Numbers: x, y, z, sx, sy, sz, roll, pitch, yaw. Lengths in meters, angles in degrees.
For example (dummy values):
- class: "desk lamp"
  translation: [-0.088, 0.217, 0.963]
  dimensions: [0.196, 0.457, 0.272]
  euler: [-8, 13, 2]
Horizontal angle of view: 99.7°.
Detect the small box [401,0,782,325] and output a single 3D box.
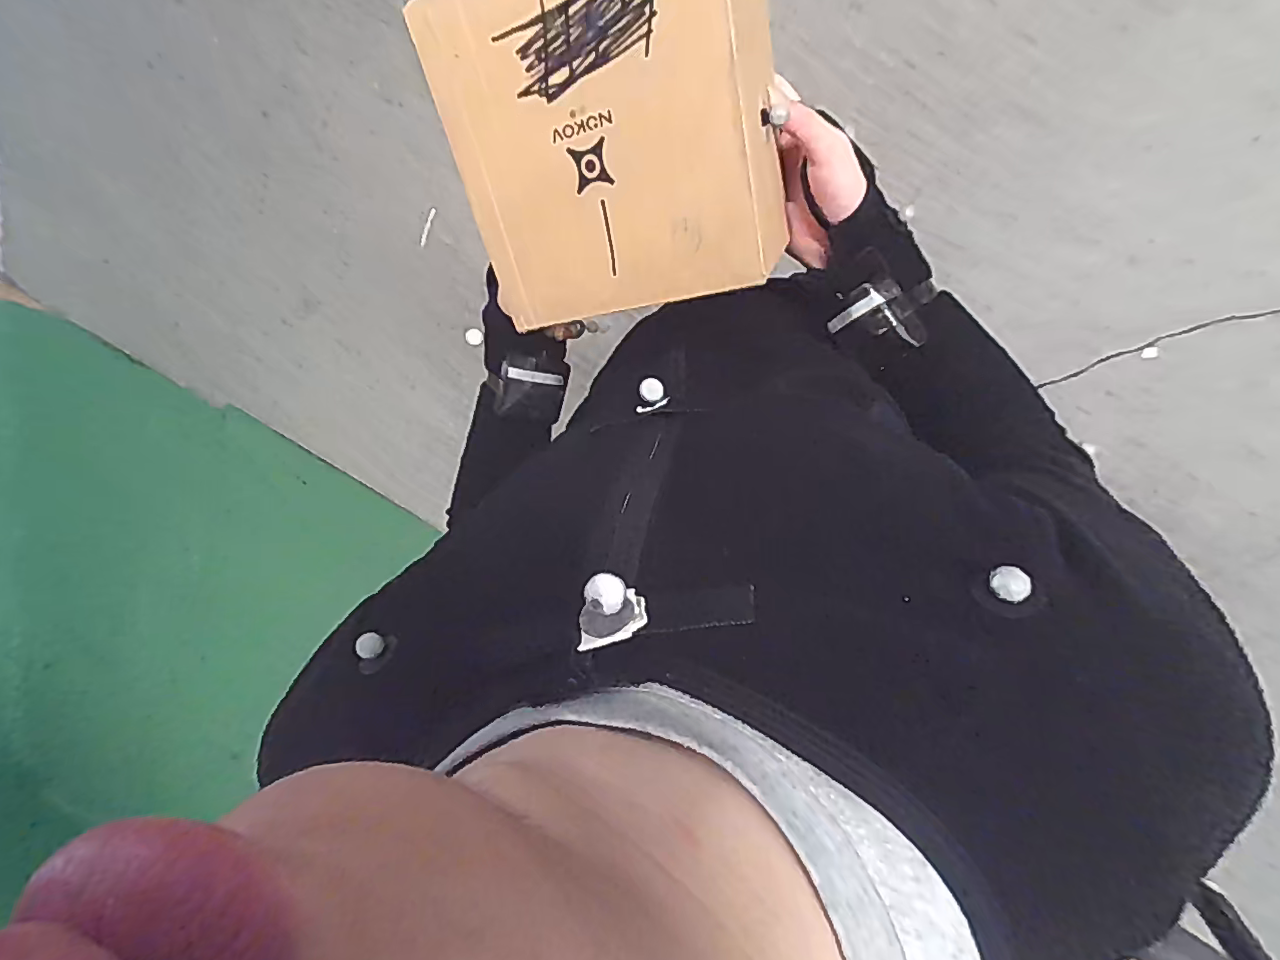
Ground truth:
- class: "small box"
  translation: [-0.006, -0.219, 0.351]
  dimensions: [0.168, 0.176, 0.179]
  euler: [-3, 120, 23]
